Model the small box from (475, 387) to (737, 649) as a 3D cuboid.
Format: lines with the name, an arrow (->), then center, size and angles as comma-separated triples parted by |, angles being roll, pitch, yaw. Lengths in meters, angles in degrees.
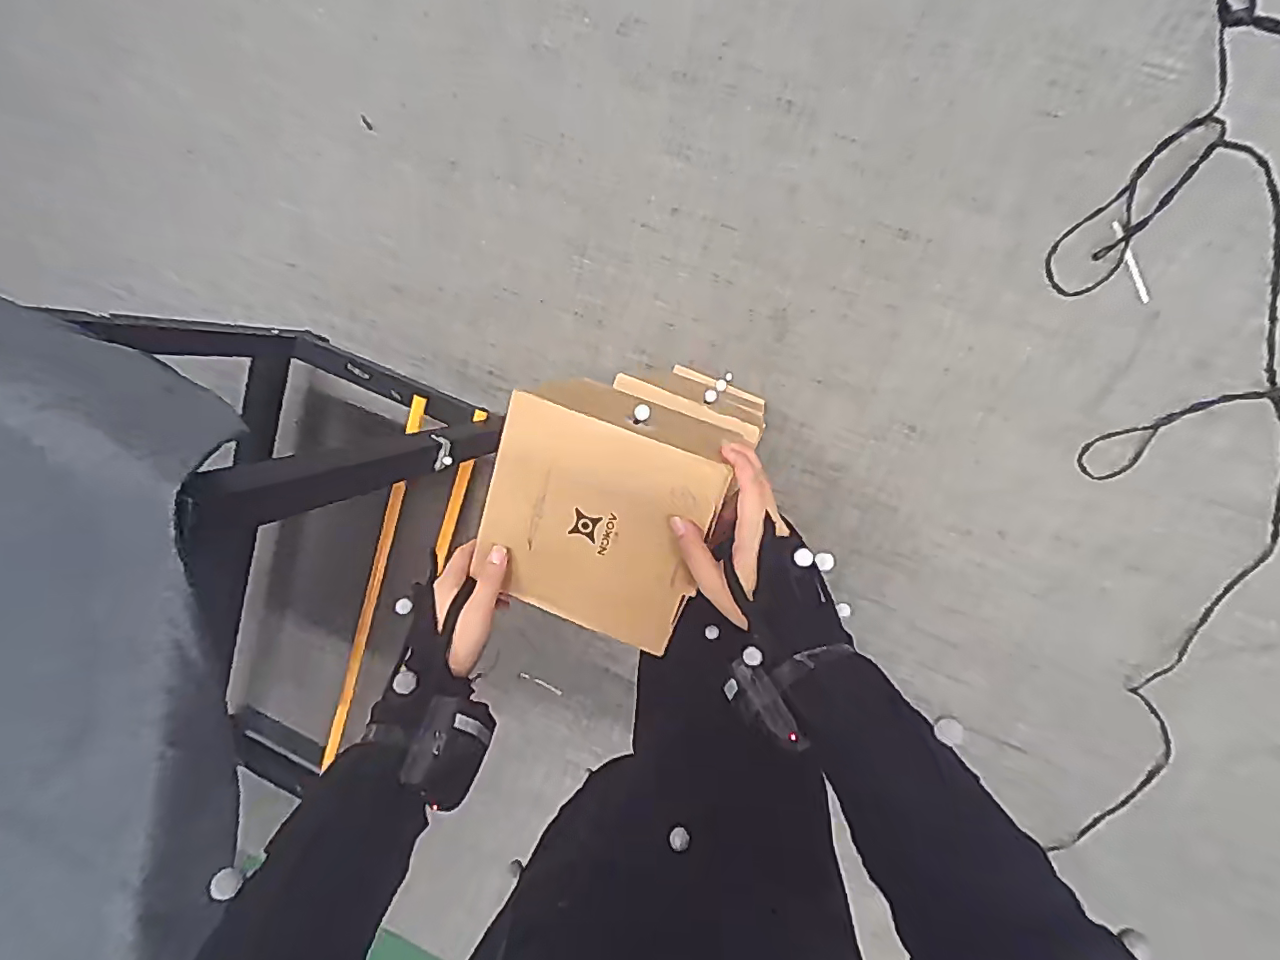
small box -> -0.018, 0.016, 0.496 | 0.179, 0.176, 0.168 | 20, 105, 8

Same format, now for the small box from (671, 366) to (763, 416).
small box -> 0.117, -0.099, 1.007 | 0.168, 0.176, 0.179 | 24, 104, 8

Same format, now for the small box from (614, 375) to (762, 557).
small box -> 0.042, -0.030, 0.695 | 0.179, 0.176, 0.168 | 23, 104, 6

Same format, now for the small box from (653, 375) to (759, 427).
small box -> 0.082, -0.056, 0.853 | 0.168, 0.176, 0.179 | 22, 104, 7
